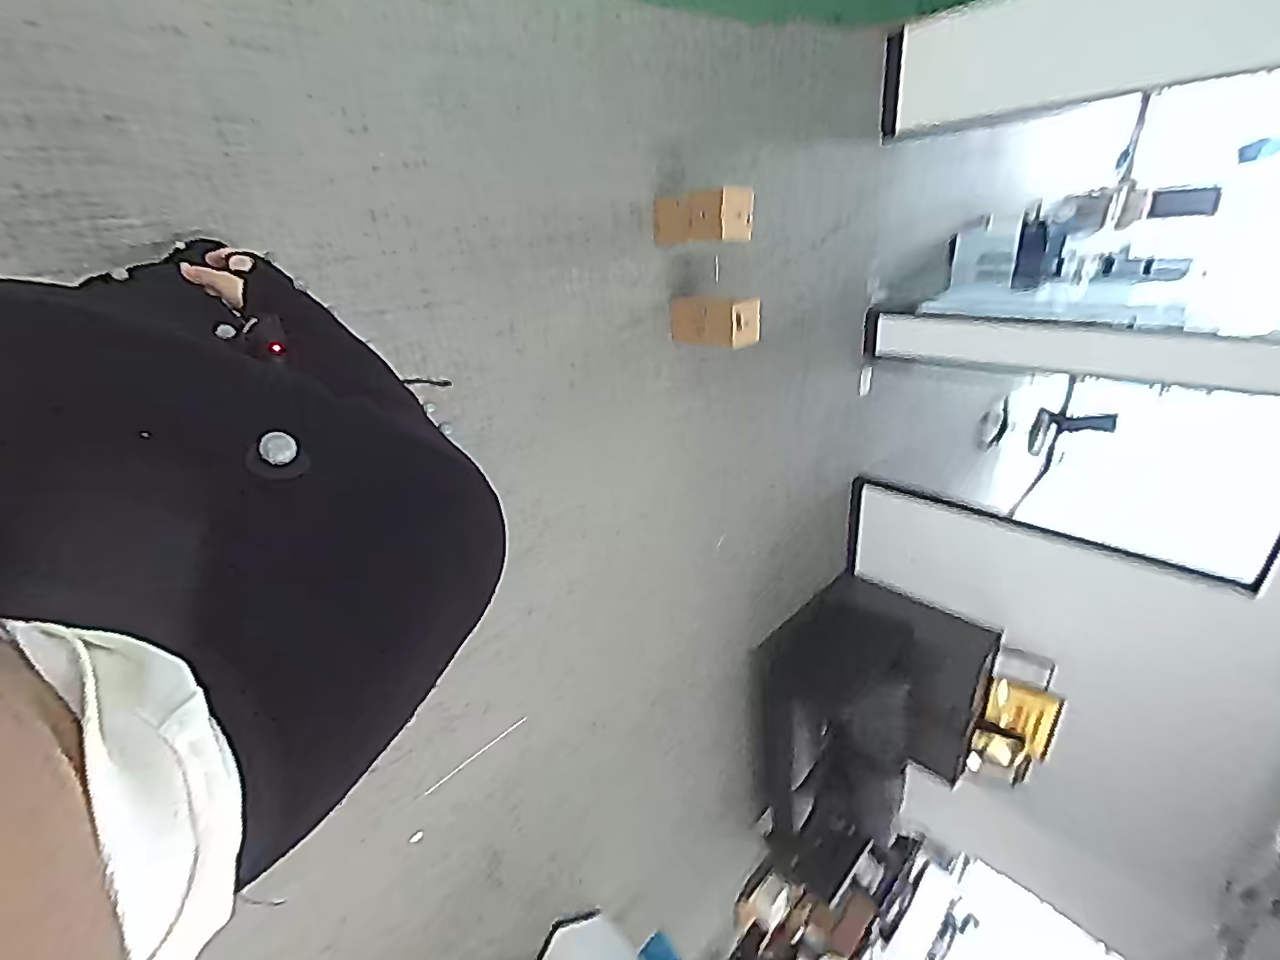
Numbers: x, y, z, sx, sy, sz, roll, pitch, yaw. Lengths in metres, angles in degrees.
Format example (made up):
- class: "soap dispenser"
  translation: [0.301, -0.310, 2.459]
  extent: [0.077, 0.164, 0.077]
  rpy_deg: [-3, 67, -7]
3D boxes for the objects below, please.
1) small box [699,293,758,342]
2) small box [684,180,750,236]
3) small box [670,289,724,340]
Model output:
- class: "small box"
  translation: [0.348, -0.648, 2.146]
  extent: [0.179, 0.176, 0.168]
  rpy_deg: [-26, 122, -37]
- class: "small box"
  translation: [0.274, -0.974, 1.950]
  extent: [0.179, 0.176, 0.168]
  rpy_deg: [-19, 119, -39]
- class: "small box"
  translation: [0.239, -0.695, 2.259]
  extent: [0.168, 0.176, 0.179]
  rpy_deg: [-27, 123, -35]
